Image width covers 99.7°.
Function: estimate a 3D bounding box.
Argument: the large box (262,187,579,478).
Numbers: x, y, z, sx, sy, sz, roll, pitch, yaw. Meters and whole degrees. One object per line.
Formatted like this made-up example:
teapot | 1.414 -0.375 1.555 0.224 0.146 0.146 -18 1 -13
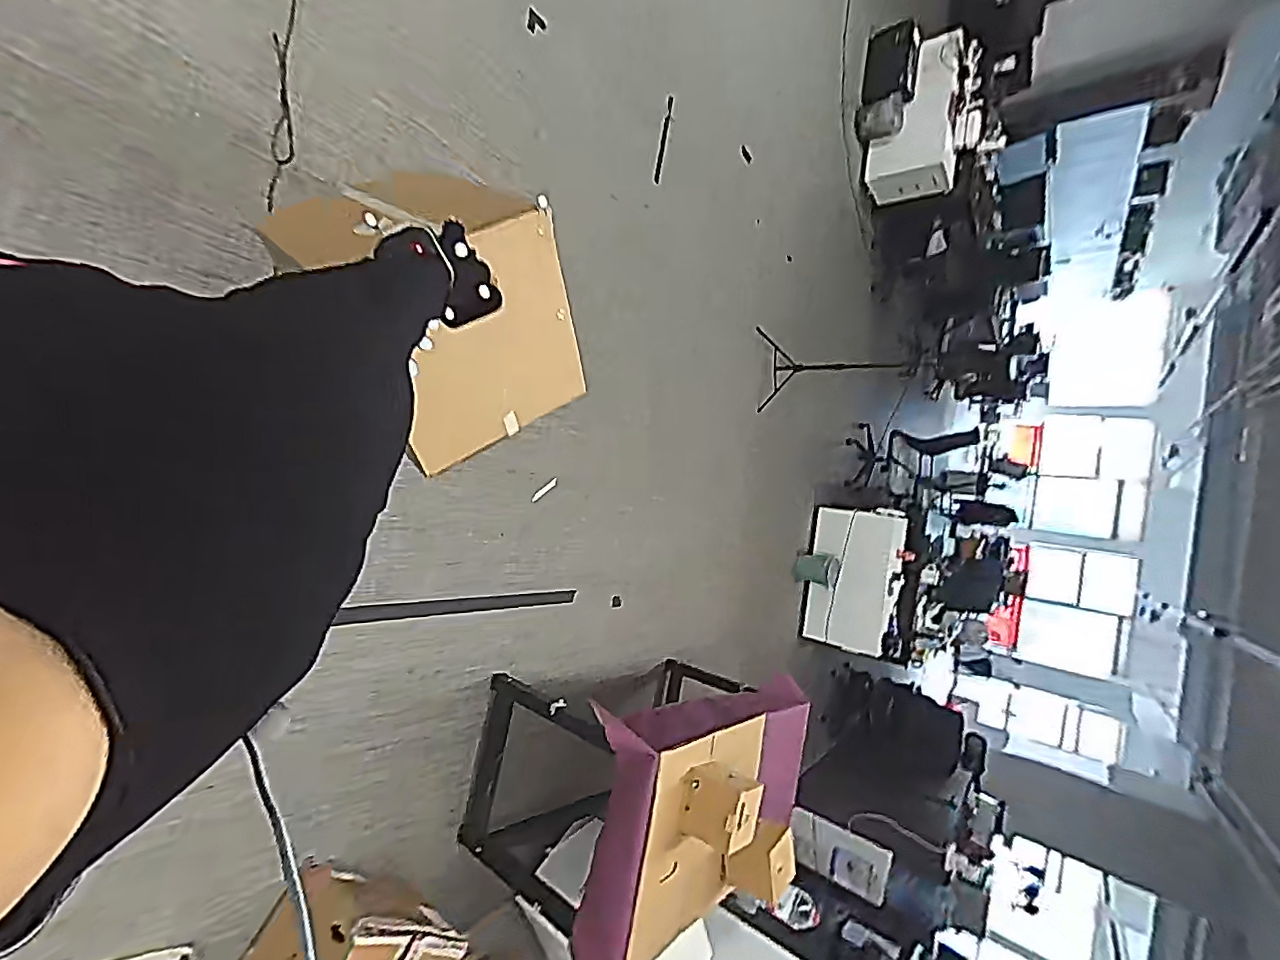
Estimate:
large box | -0.360 -0.271 0.930 0.320 0.408 0.320 -34 140 -26
